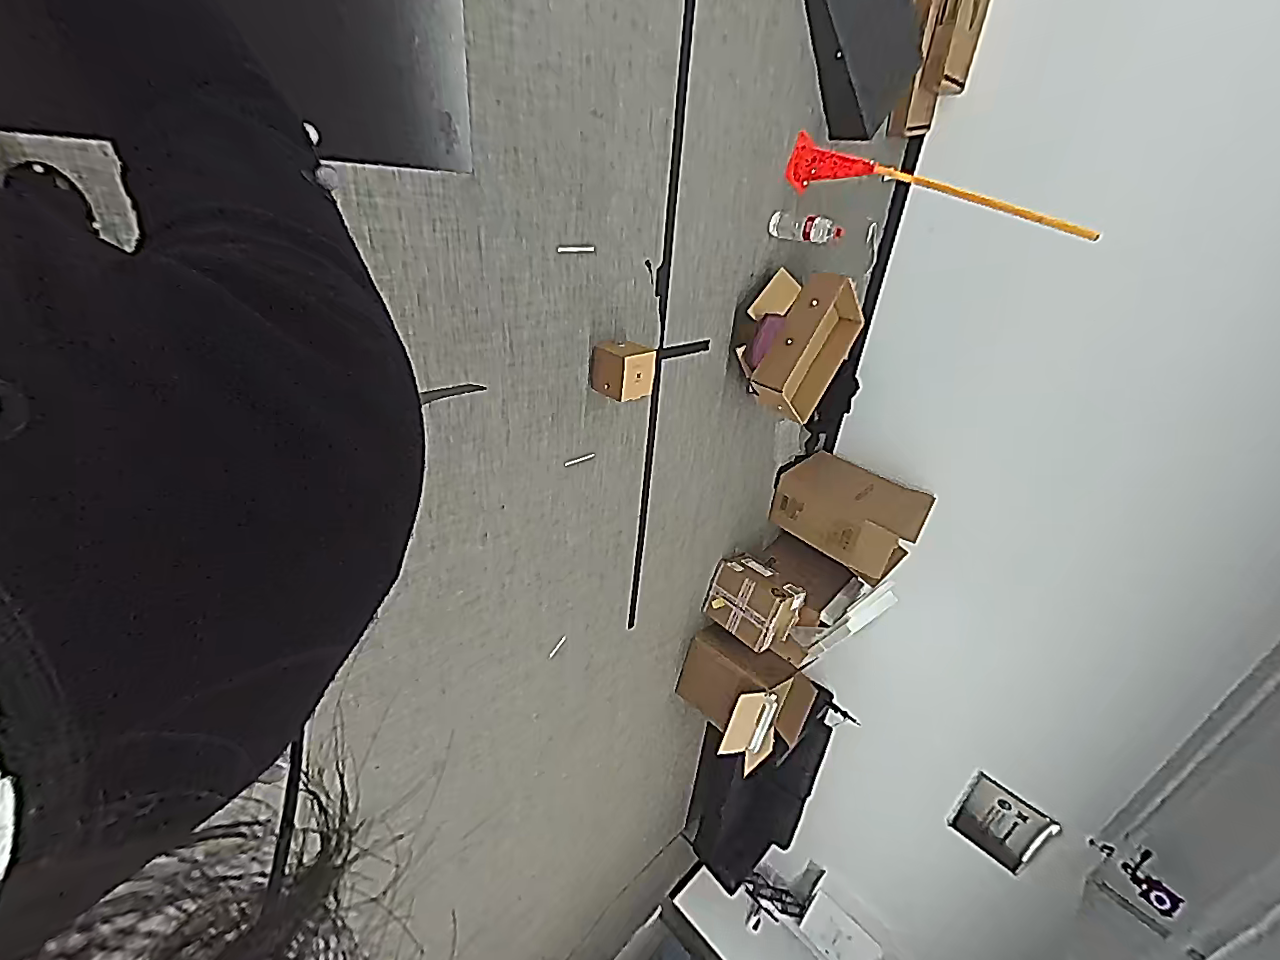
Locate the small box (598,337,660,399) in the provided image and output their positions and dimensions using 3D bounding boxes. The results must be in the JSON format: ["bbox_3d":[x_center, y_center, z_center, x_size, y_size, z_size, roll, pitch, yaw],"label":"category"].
[{"bbox_3d":[-0.046,-0.426,2.036,0.168,0.176,0.179,-24,130,-40],"label":"small box"}]
